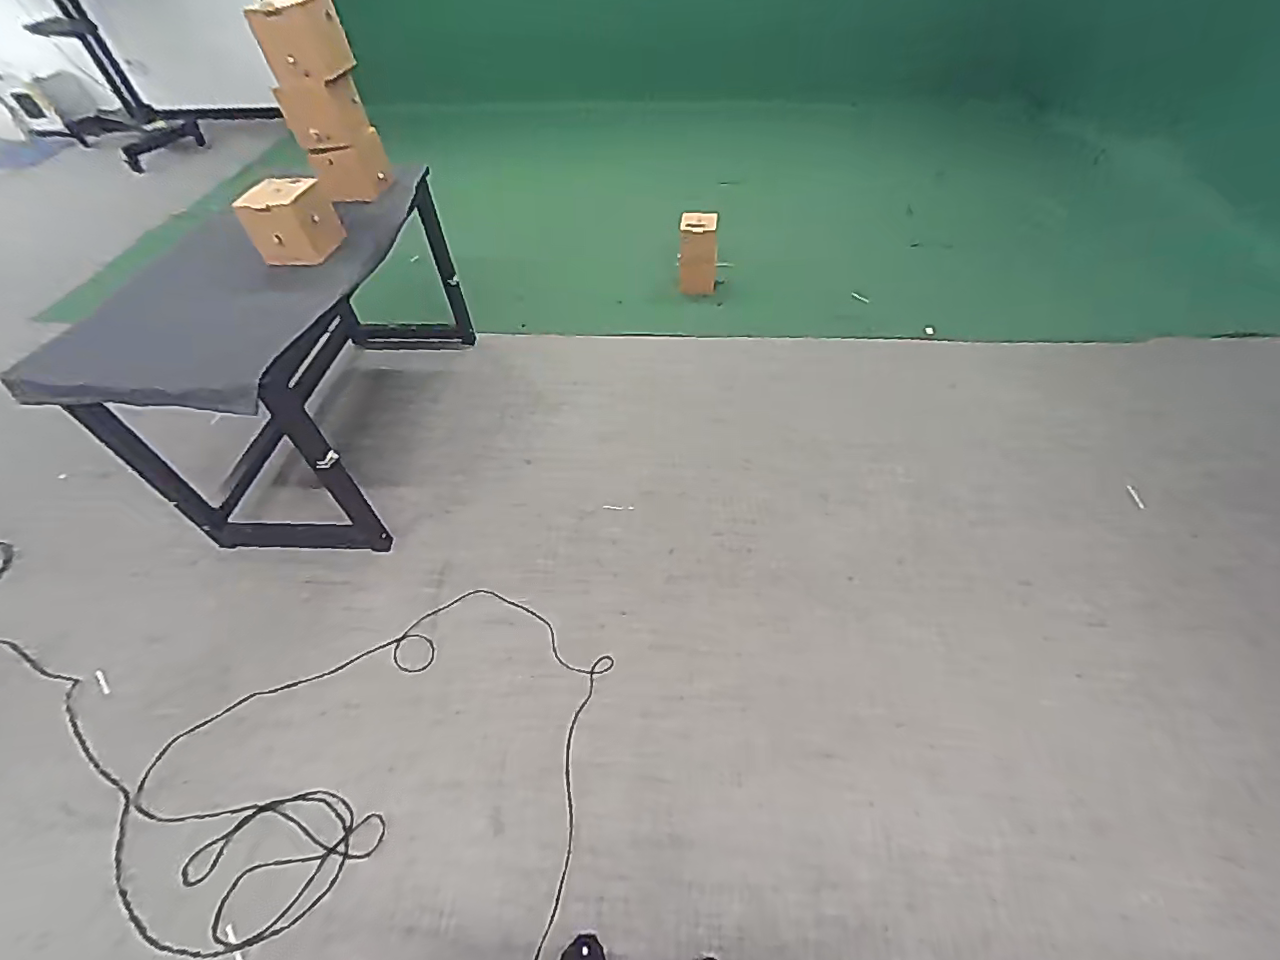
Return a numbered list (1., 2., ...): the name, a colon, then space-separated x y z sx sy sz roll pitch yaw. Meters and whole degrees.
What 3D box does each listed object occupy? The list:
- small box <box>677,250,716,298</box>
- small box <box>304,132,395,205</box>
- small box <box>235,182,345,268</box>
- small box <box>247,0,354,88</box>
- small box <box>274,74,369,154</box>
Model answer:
1. small box: 0.283 -1.031 2.708 0.179 0.176 0.168 4 51 6
2. small box: -0.951 -1.029 1.788 0.179 0.176 0.168 5 51 8
3. small box: -0.977 -0.718 1.530 0.168 0.176 0.179 2 51 6
4. small box: -0.951 -1.241 1.538 0.168 0.176 0.179 1 50 8
5. small box: -0.962 -1.125 1.657 0.168 0.176 0.179 -2 51 5
